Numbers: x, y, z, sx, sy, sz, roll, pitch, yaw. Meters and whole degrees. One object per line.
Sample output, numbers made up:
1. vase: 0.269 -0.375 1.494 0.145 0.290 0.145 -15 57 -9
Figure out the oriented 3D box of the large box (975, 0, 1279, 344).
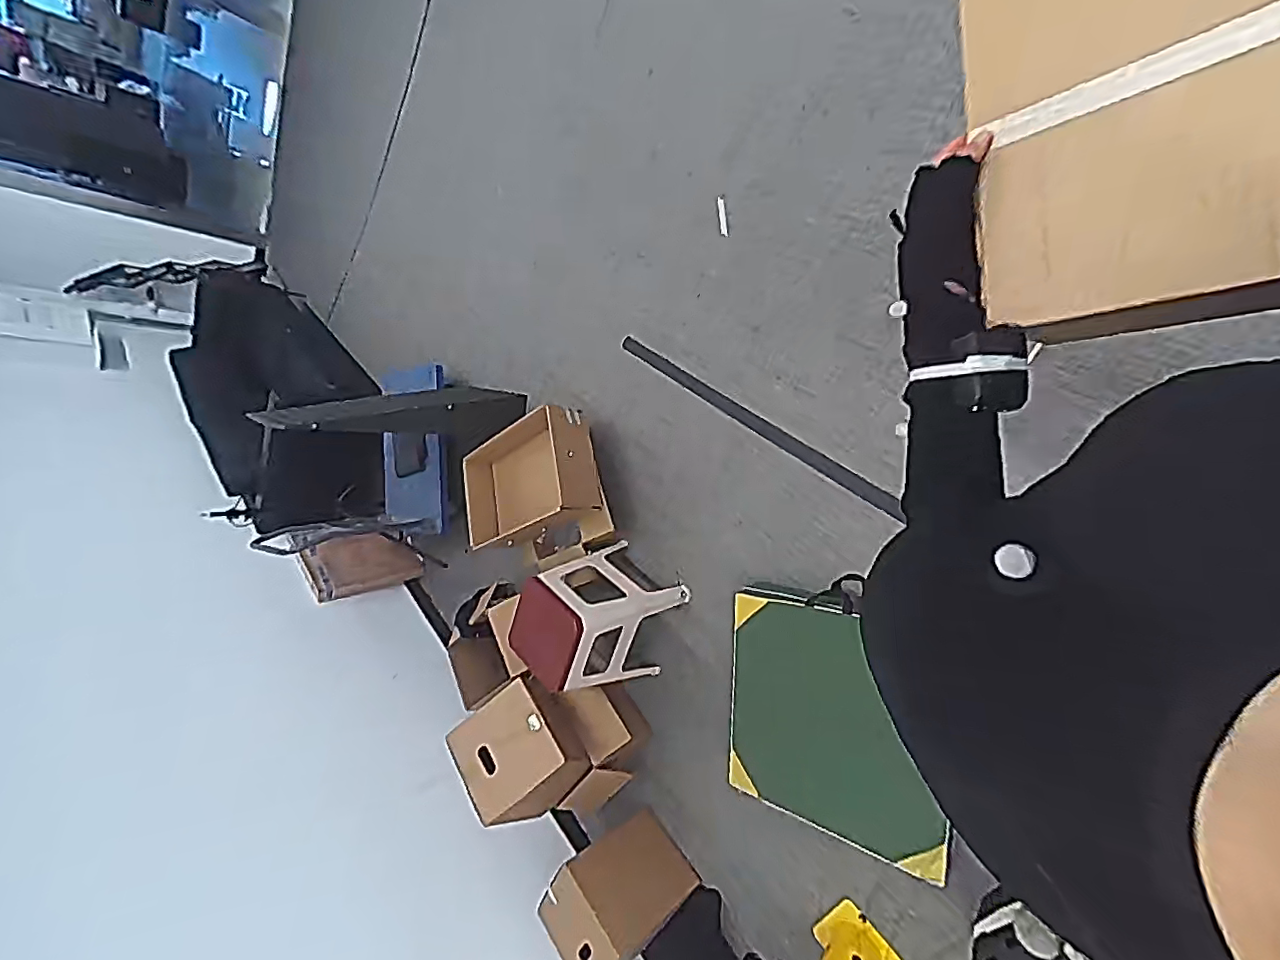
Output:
1. large box: 0.534 -0.307 0.427 0.408 0.320 0.320 -2 97 43
